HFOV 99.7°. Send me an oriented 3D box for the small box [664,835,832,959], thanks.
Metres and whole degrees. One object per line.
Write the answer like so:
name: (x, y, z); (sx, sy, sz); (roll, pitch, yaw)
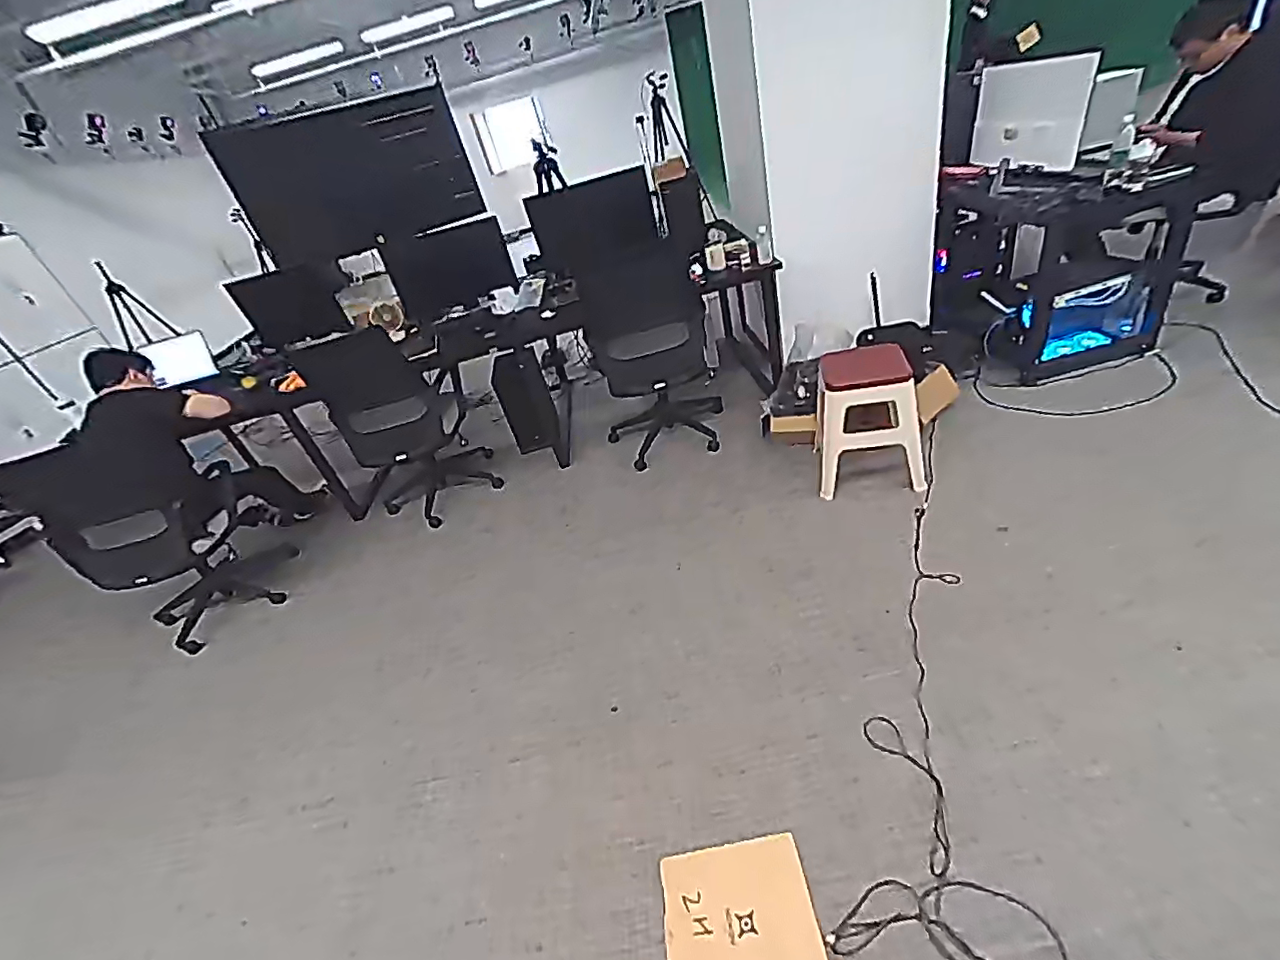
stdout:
small box: (0.138, 0.572, 0.660); (0.179, 0.176, 0.168); (-15, 32, 6)
